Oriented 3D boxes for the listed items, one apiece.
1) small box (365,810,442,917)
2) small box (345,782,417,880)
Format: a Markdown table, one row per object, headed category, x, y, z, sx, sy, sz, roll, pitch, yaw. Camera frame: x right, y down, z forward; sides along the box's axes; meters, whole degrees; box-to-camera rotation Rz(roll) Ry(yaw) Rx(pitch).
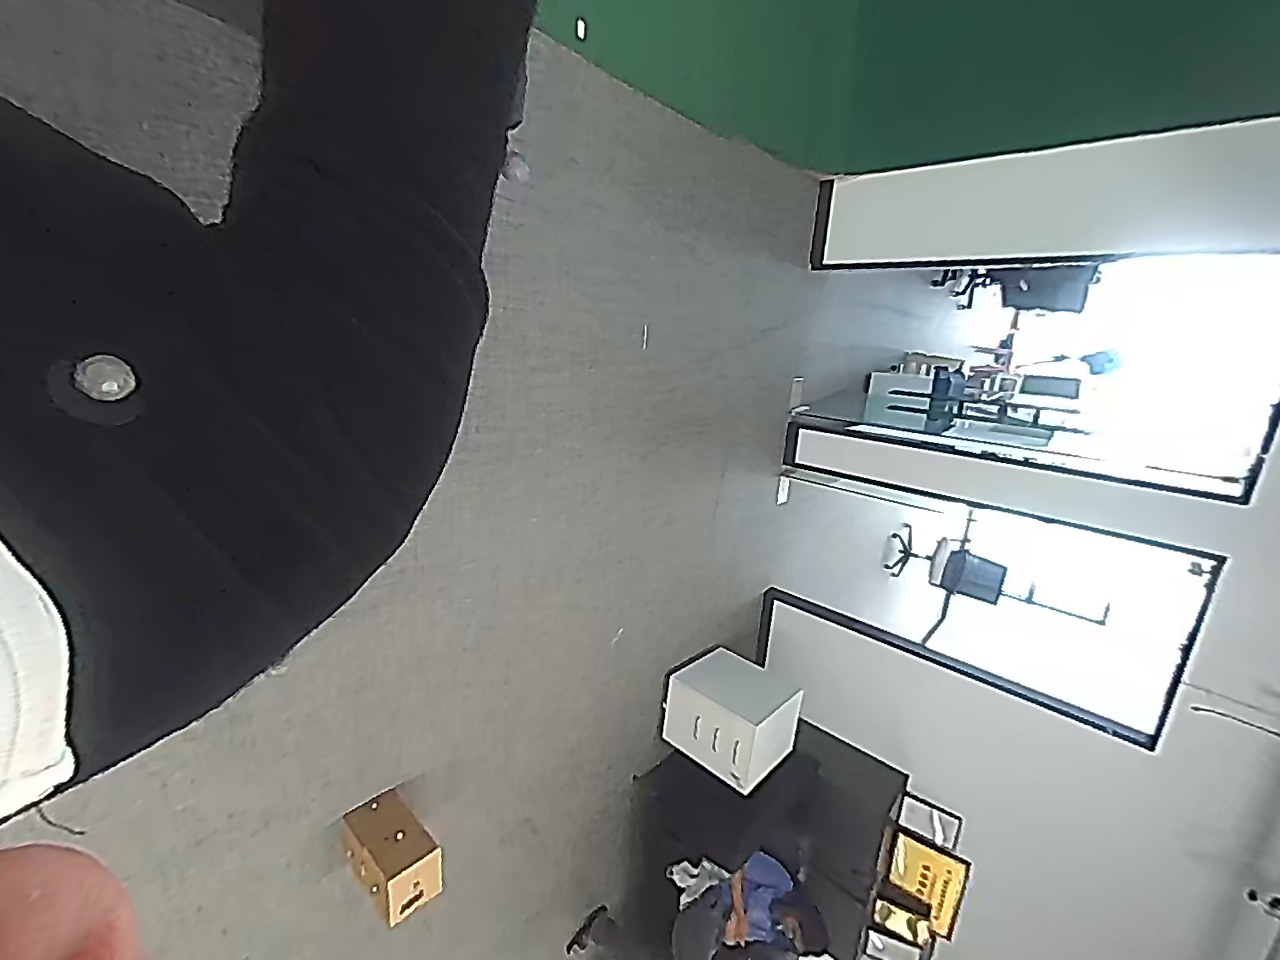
| category | x | y | z | sx | sy | sz | roll | pitch | yaw |
| --- | --- | --- | --- | --- | --- | --- | --- | --- | --- |
| small box | -0.740 | 1.188 | 1.692 | 0.168 | 0.176 | 0.179 | -13 | 112 | -48 |
| small box | -0.863 | 1.157 | 1.797 | 0.179 | 0.176 | 0.168 | -11 | 112 | -47 |
